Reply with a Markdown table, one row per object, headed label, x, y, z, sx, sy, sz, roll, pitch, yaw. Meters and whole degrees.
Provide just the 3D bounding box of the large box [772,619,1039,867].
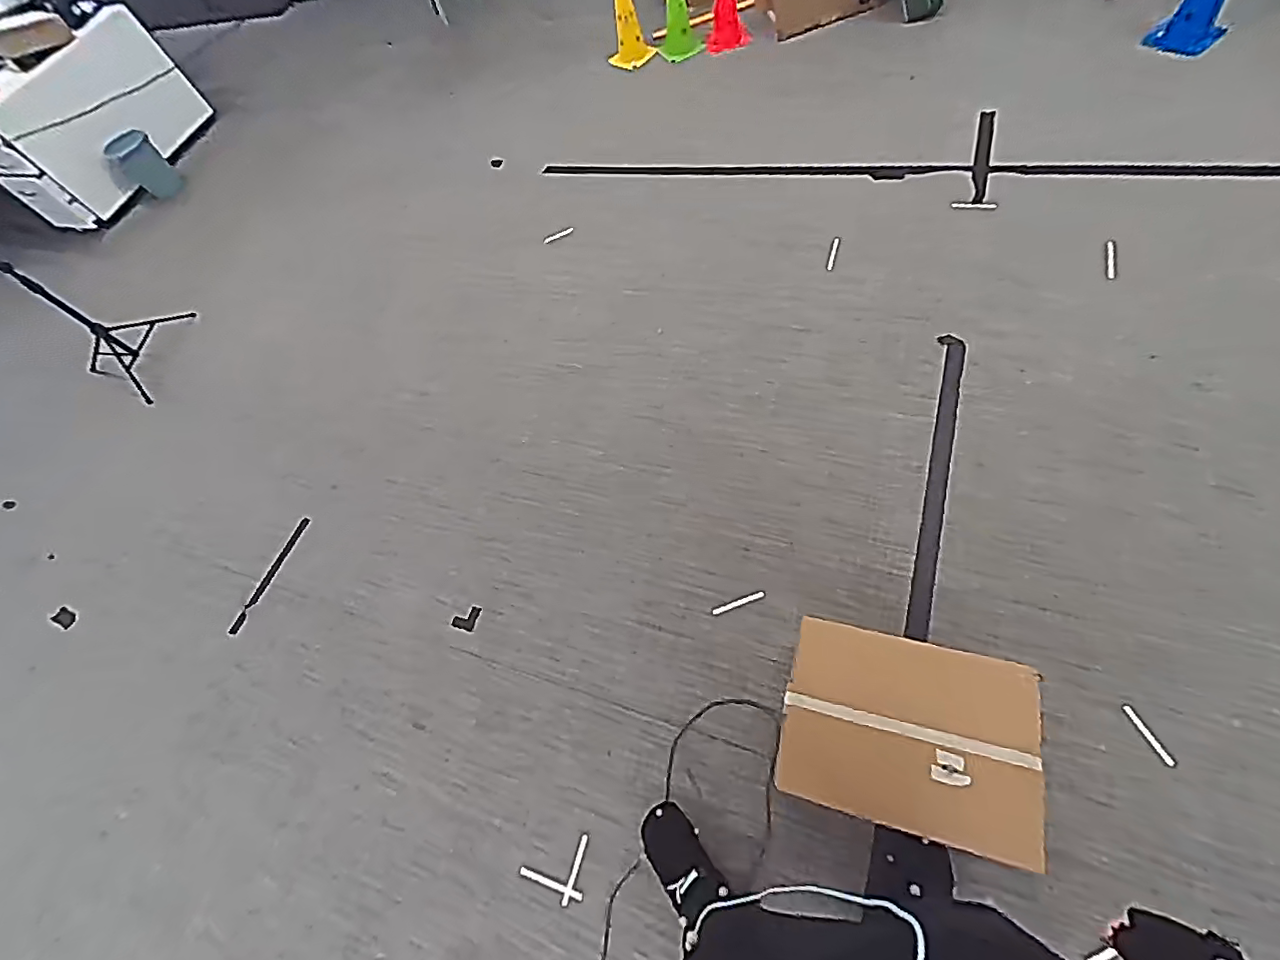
| label | x | y | z | sx | sy | sz | roll | pitch | yaw |
| --- | --- | --- | --- | --- | --- | --- | --- | --- | --- |
| large box | 0.488 | 0.499 | 1.071 | 0.408 | 0.320 | 0.320 | 10 | 67 | 17 |
